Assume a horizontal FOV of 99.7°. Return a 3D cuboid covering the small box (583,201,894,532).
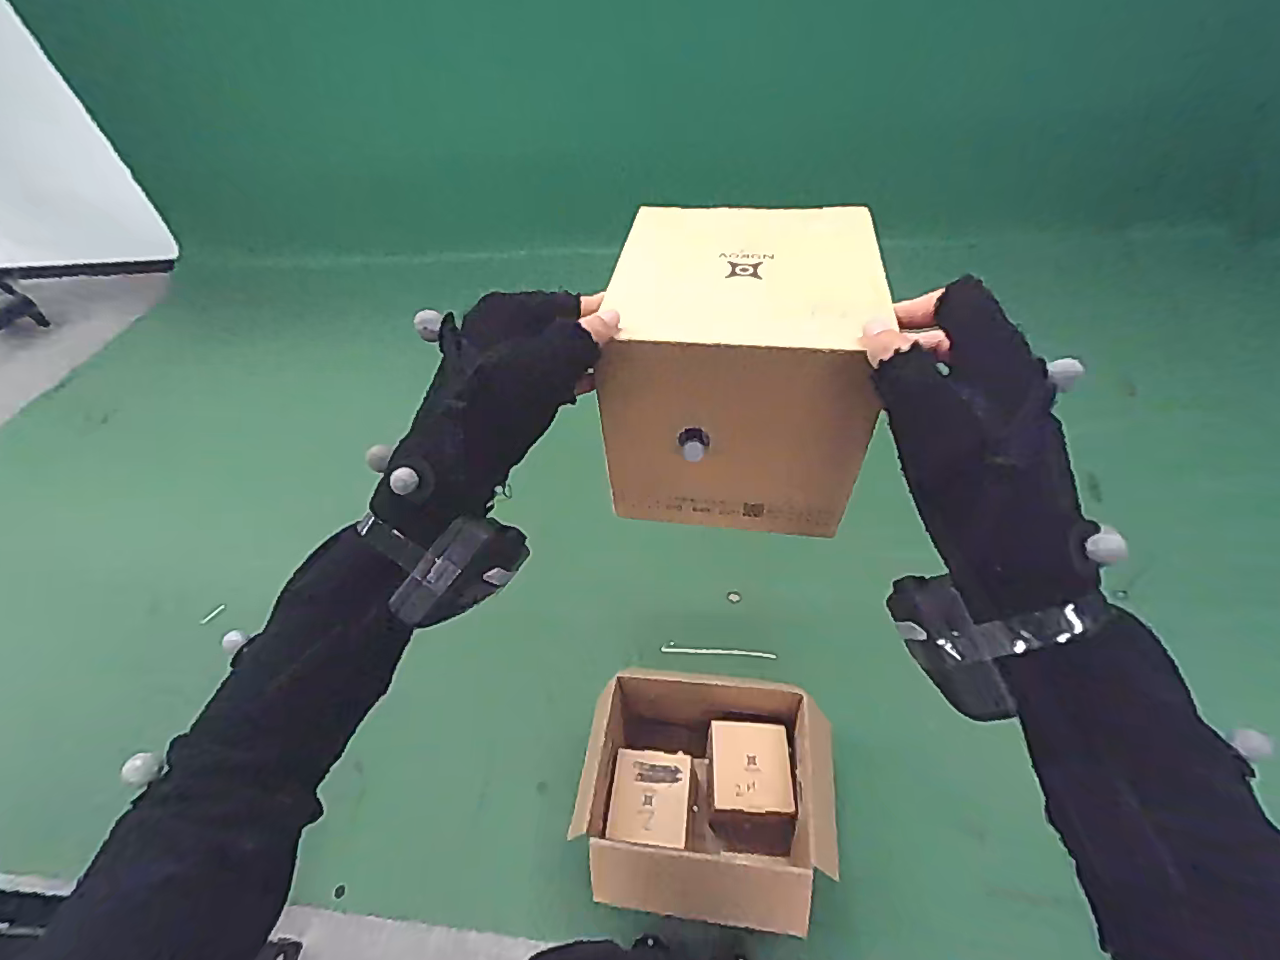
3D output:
[{"bbox_3d":[0.068,-0.081,0.394,0.168,0.176,0.179,5,48,9],"label":"small box"}]
